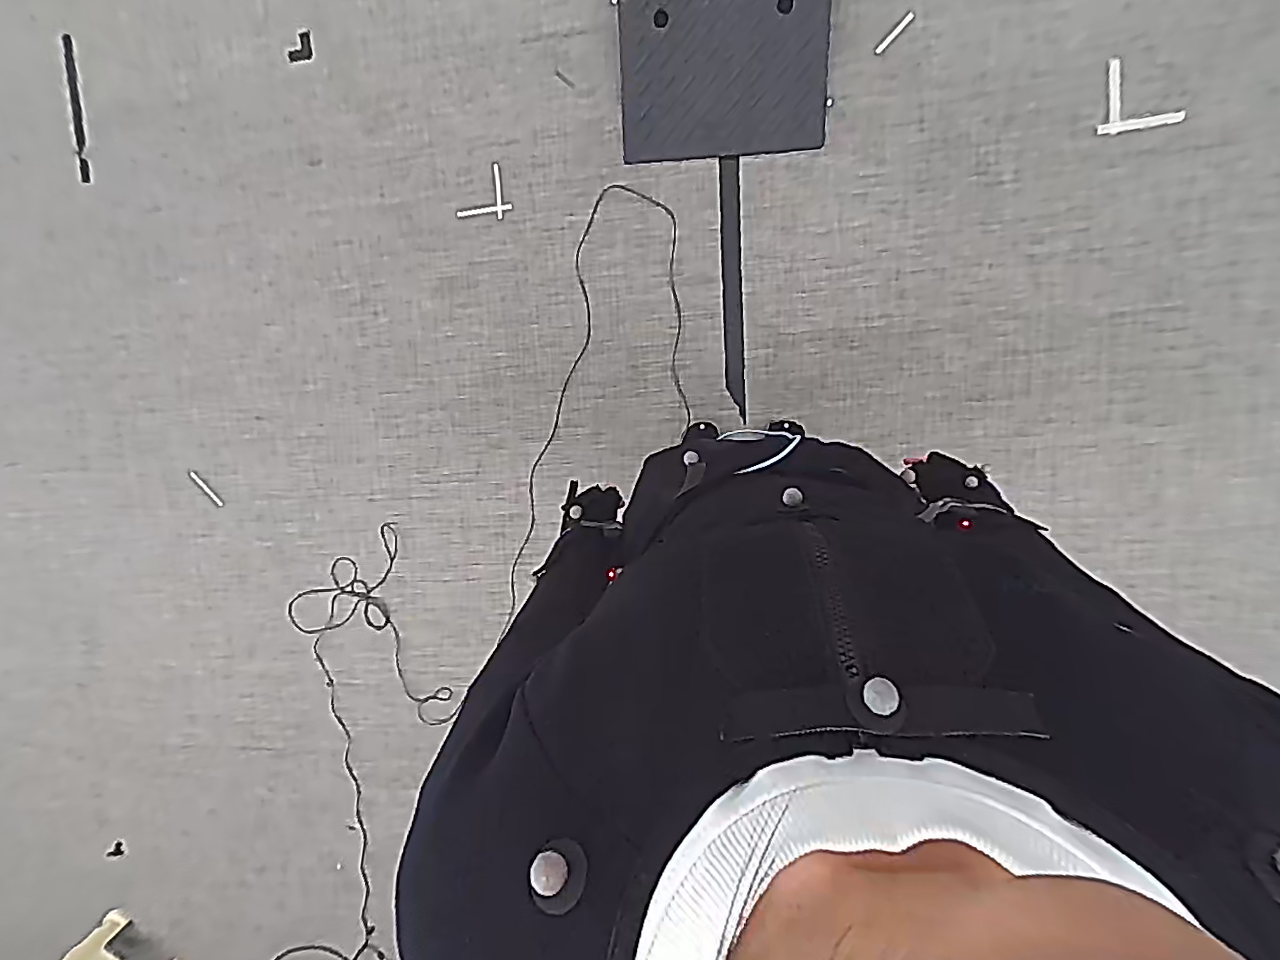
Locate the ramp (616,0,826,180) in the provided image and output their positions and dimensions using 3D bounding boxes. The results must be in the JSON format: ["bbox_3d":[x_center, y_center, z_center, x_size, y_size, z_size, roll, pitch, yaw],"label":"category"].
[{"bbox_3d":[0.178,-1.264,1.238,0.509,0.206,0.991,-3,96,8],"label":"ramp"}]
